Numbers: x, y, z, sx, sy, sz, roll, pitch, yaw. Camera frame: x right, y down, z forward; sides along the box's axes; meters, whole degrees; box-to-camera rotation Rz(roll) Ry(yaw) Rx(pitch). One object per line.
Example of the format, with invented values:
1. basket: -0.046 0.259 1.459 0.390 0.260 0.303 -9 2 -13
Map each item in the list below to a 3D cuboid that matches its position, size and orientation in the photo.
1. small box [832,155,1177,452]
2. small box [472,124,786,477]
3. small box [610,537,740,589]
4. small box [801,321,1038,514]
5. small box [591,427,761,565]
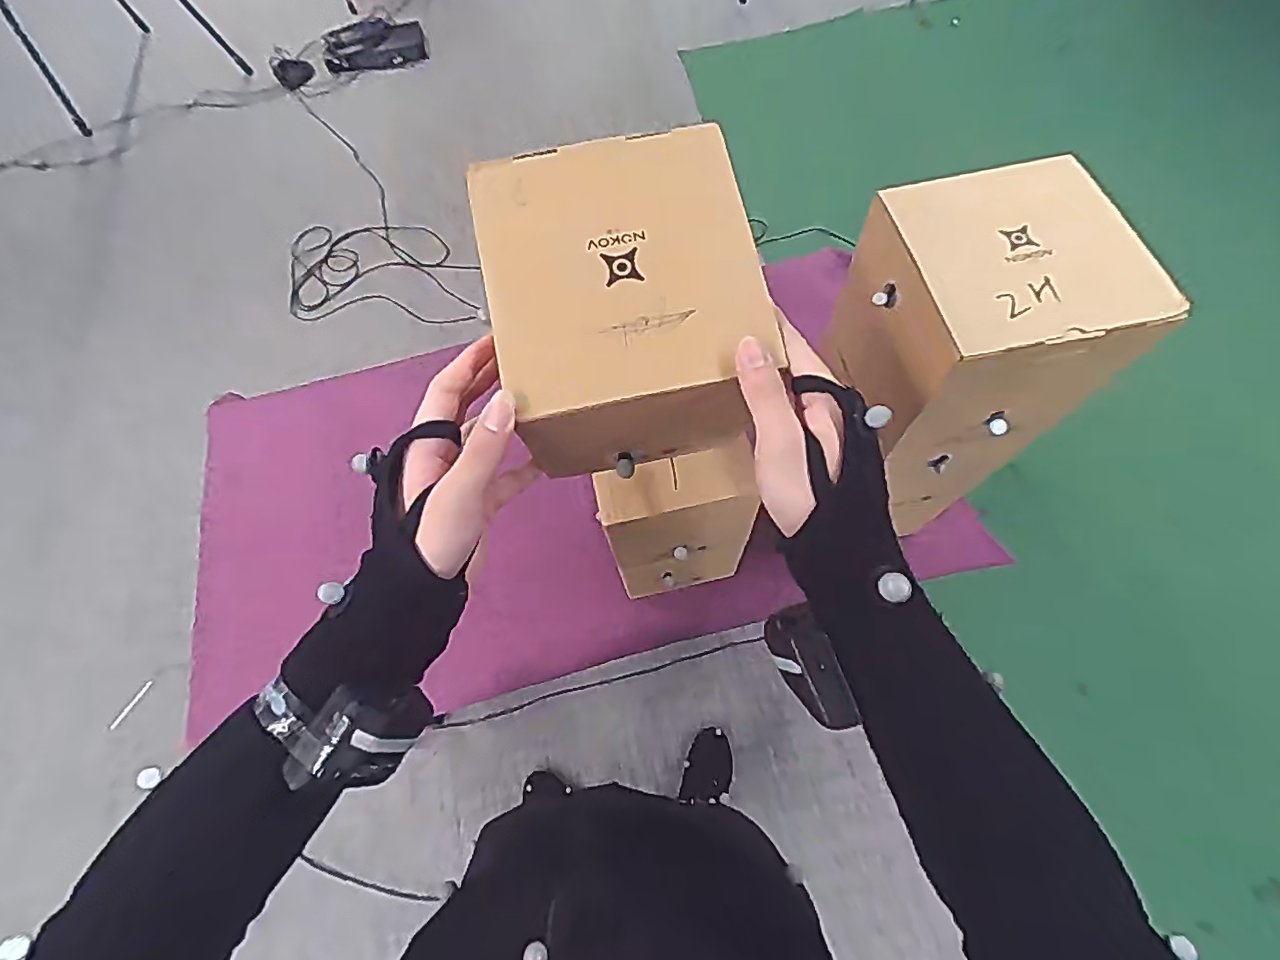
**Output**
1. small box: 0.292 -0.147 0.487 0.168 0.176 0.179 -10 68 0
2. small box: -0.012 -0.115 0.404 0.168 0.176 0.179 -12 79 -3
3. small box: 0.039 0.050 0.783 0.168 0.176 0.179 -13 65 -1
4. small box: 0.303 -0.079 0.637 0.168 0.176 0.179 -11 65 1
5. small box: 0.028 -0.018 0.634 0.168 0.176 0.179 -13 66 -1
